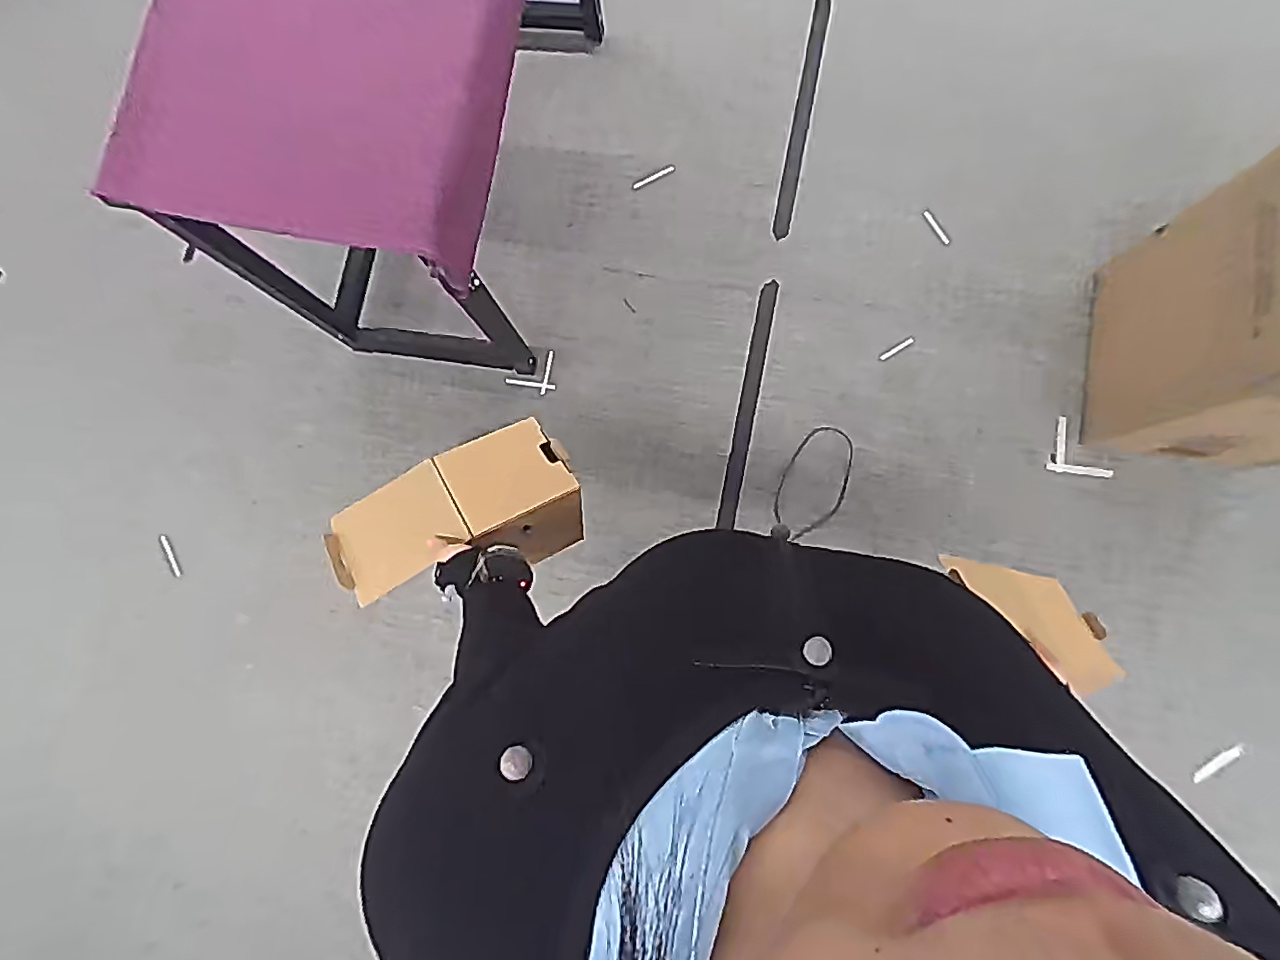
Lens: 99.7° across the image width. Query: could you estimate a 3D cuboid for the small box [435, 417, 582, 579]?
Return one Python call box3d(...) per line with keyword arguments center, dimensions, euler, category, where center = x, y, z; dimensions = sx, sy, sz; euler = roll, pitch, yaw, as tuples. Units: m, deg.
box3d(center=(-0.207, 0.034, 0.889), dimensions=(0.179, 0.176, 0.168), euler=(-26, 61, -20), category="small box")
